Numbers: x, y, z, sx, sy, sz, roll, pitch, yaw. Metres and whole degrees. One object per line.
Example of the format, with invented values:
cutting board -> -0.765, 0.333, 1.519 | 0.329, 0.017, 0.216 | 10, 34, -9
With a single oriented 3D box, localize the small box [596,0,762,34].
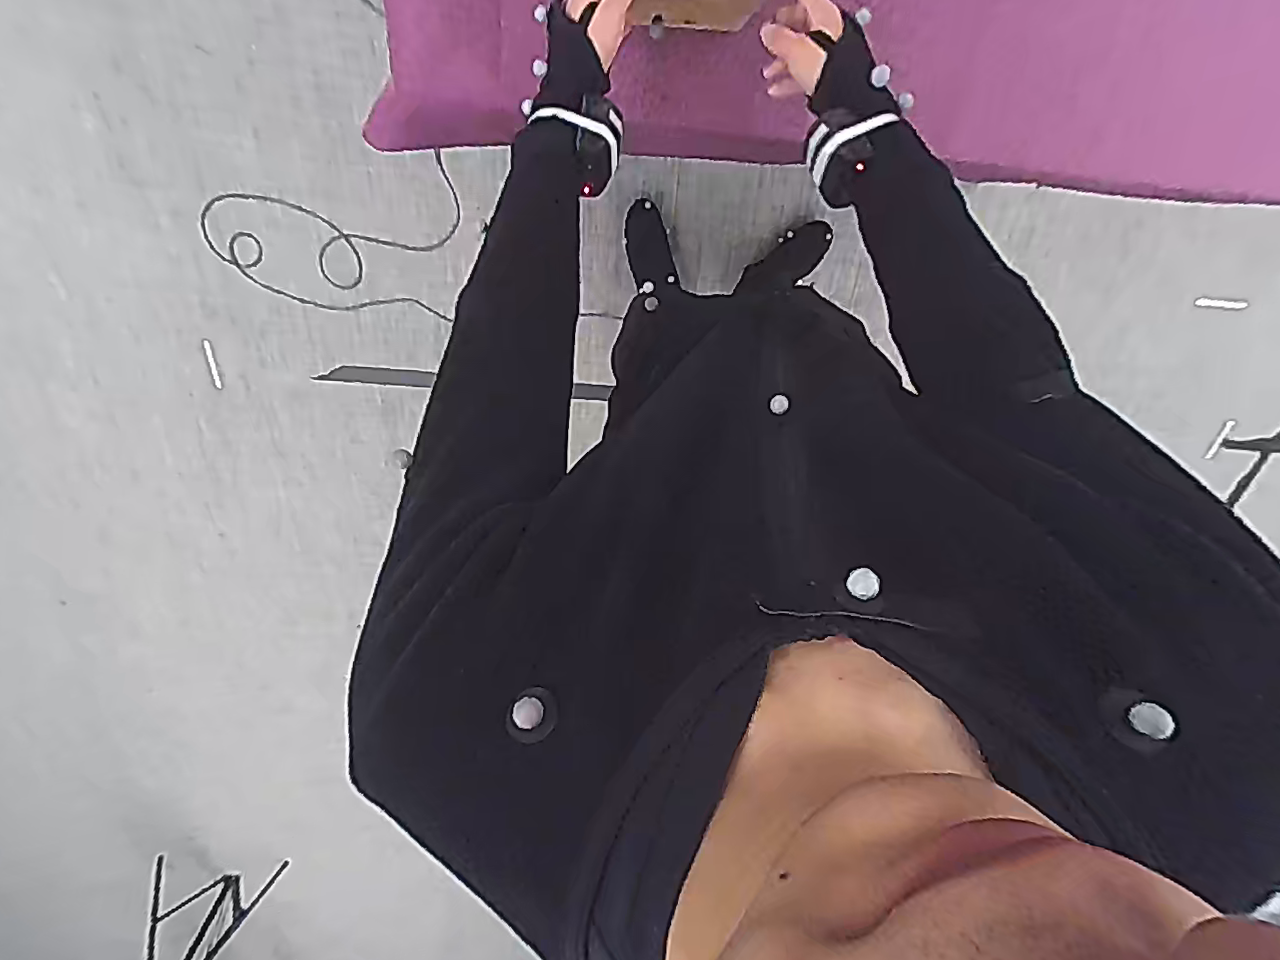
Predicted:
small box -> 0.038, -0.557, 0.511 | 0.168, 0.176, 0.179 | 1, 120, -3
